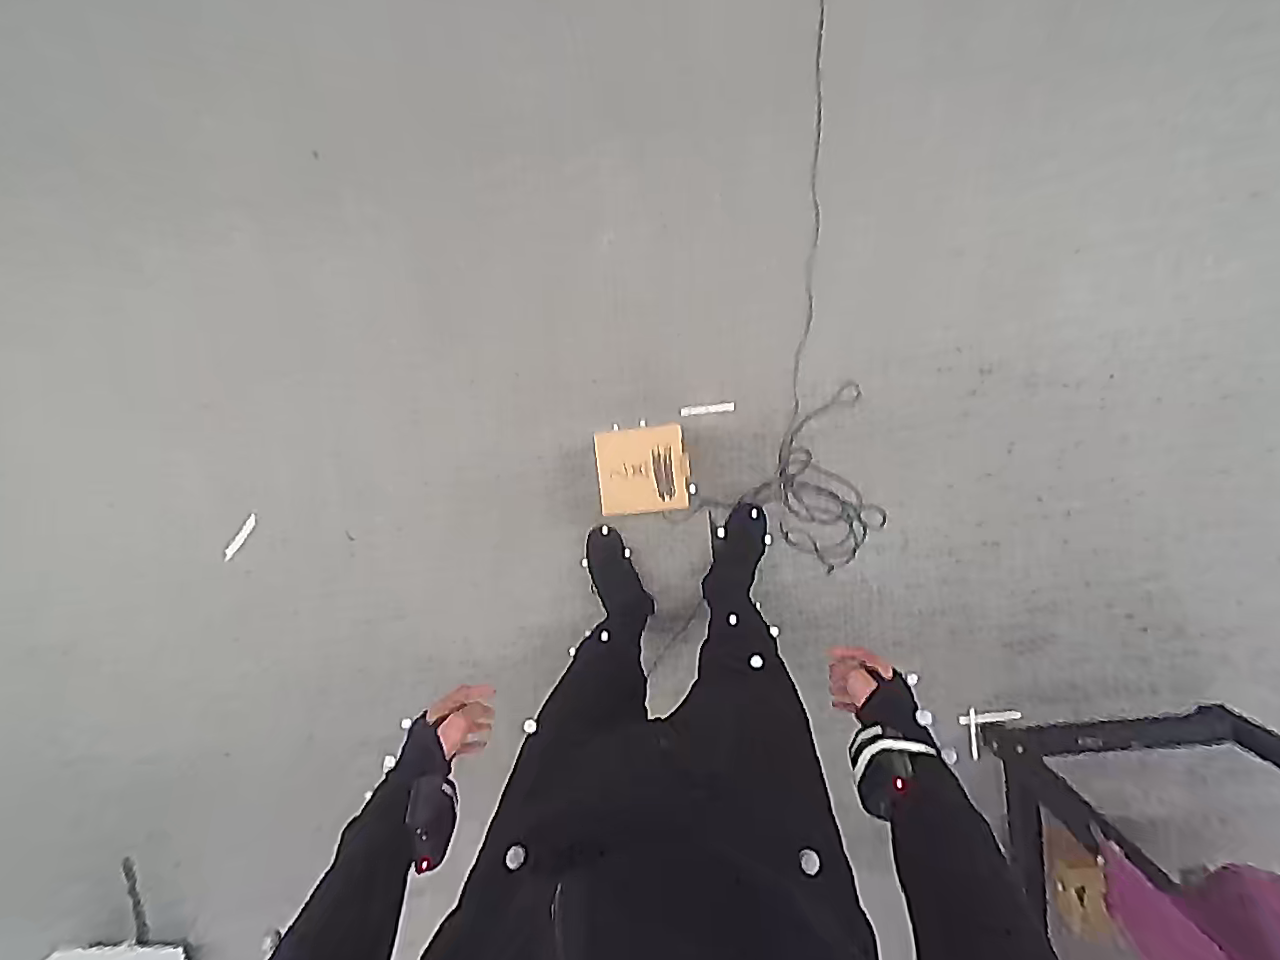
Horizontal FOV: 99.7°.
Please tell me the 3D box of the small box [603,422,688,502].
[{"bbox_3d":[0.019,-0.044,1.295,0.179,0.176,0.168,-8,95,5],"label":"small box"}]
